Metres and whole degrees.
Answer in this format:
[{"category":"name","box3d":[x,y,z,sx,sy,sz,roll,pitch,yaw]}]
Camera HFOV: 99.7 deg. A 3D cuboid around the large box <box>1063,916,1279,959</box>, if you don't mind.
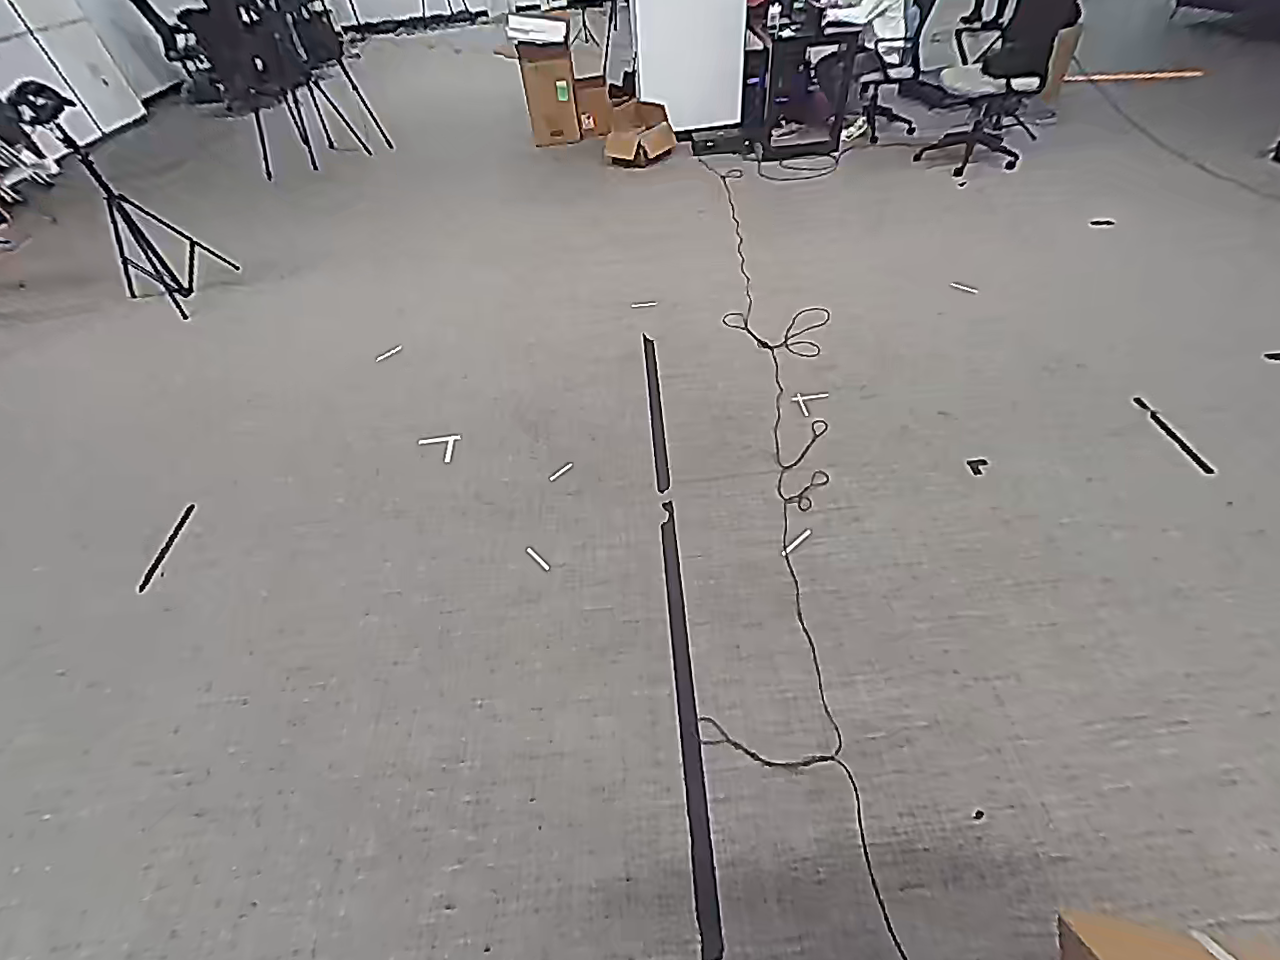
[{"category":"large box","box3d":[0.669,0.721,0.497,0.320,0.408,0.320,1,80,15]}]
